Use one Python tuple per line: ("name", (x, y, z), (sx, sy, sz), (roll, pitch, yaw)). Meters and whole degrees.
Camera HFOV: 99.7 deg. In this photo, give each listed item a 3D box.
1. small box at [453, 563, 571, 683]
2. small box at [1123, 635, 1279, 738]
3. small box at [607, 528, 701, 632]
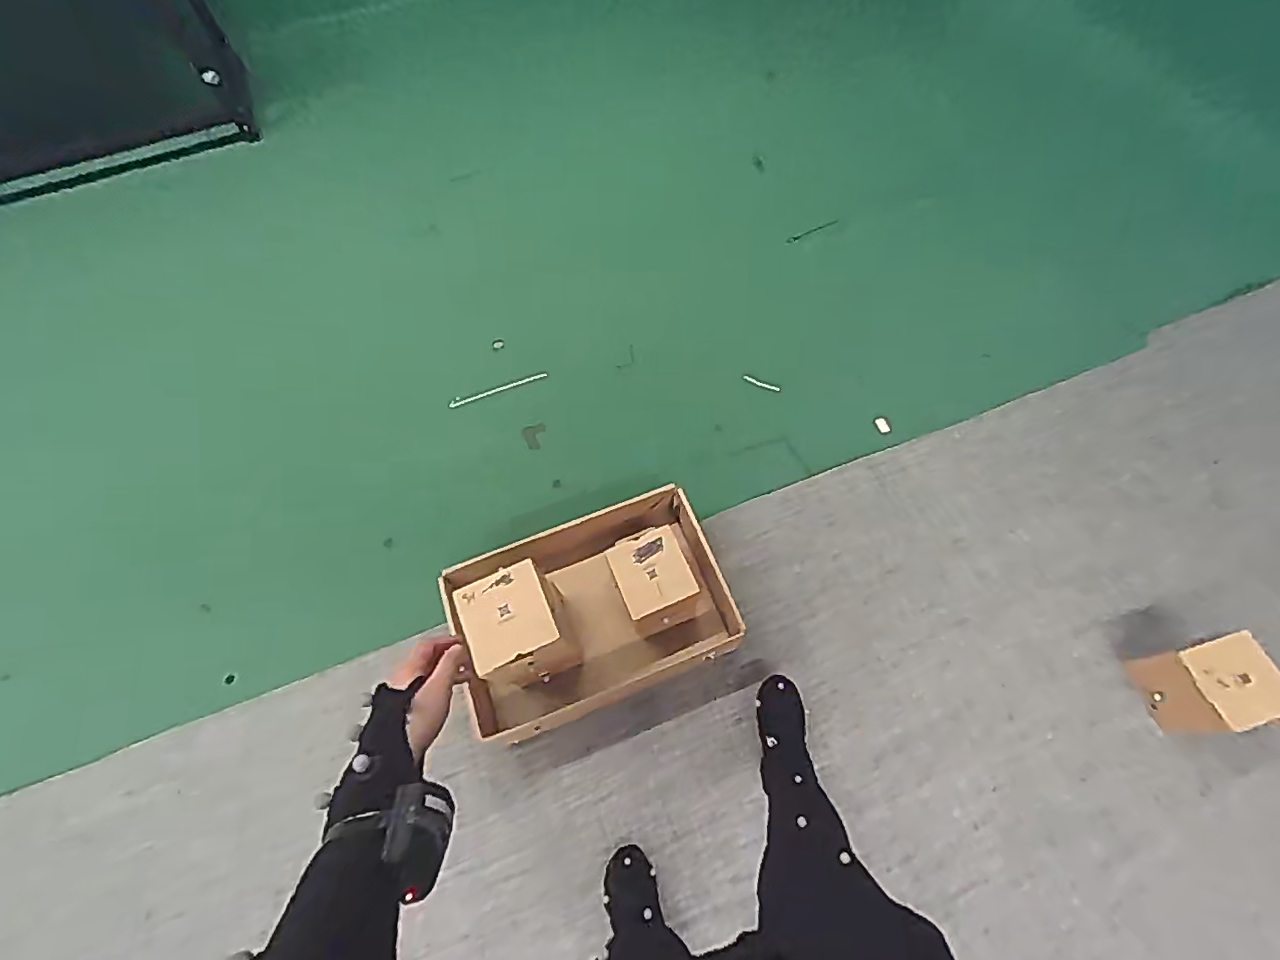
("small box", (-0.250, 0.295, 1.094), (0.168, 0.176, 0.179), (-23, 67, -8))
("small box", (1.245, 0.457, 1.192), (0.179, 0.176, 0.168), (-16, 64, -5))
("small box", (0.030, 0.243, 1.287), (0.168, 0.176, 0.179), (-22, 68, -7))
